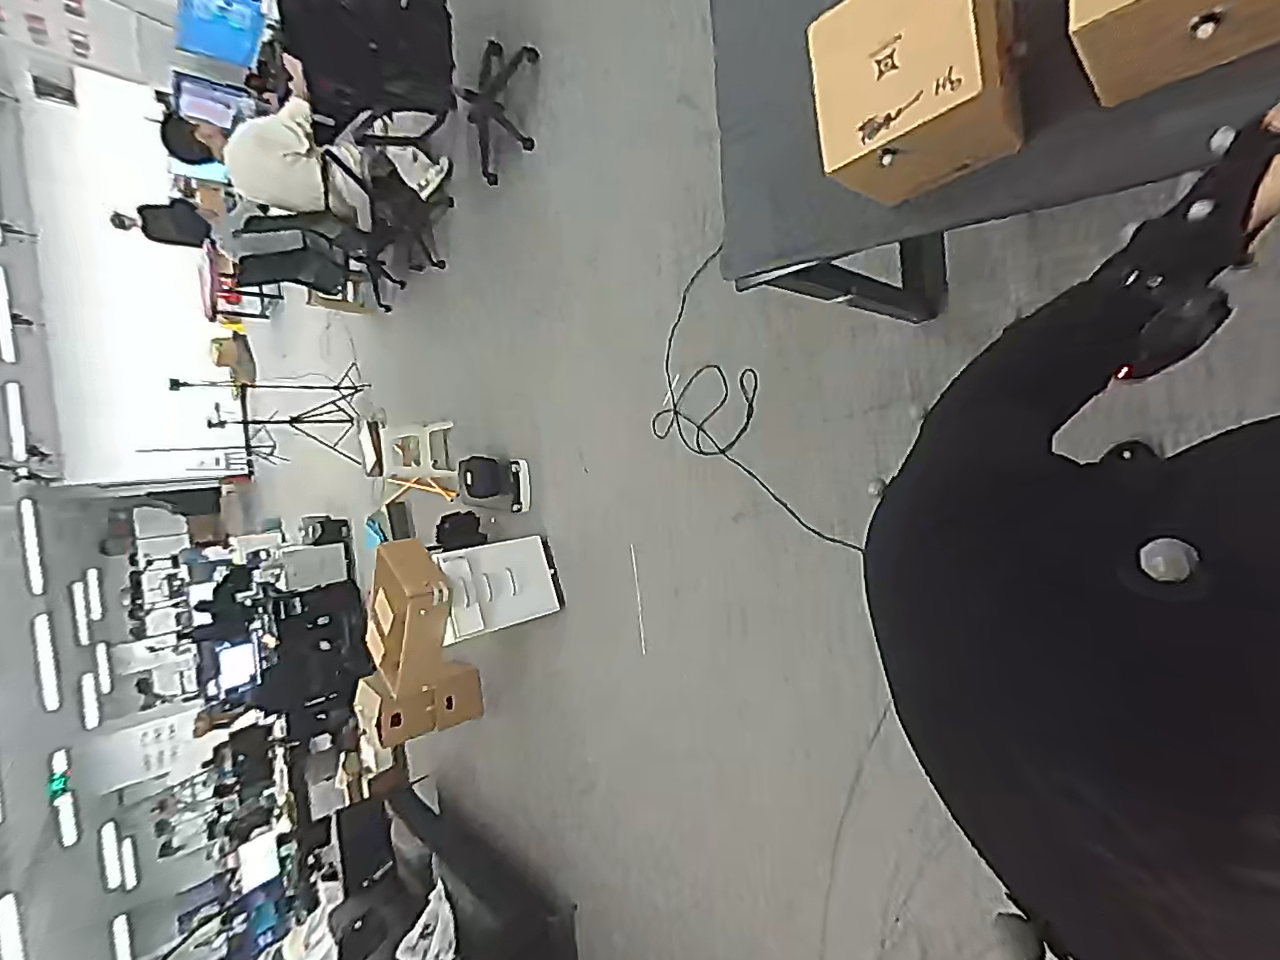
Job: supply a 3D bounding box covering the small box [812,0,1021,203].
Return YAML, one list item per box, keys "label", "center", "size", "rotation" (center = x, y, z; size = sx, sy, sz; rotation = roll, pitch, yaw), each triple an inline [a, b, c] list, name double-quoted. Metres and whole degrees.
- label: "small box"
  center: [0.323, -0.460, 0.631]
  size: [0.168, 0.176, 0.179]
  rotation: [-5, 91, 49]
